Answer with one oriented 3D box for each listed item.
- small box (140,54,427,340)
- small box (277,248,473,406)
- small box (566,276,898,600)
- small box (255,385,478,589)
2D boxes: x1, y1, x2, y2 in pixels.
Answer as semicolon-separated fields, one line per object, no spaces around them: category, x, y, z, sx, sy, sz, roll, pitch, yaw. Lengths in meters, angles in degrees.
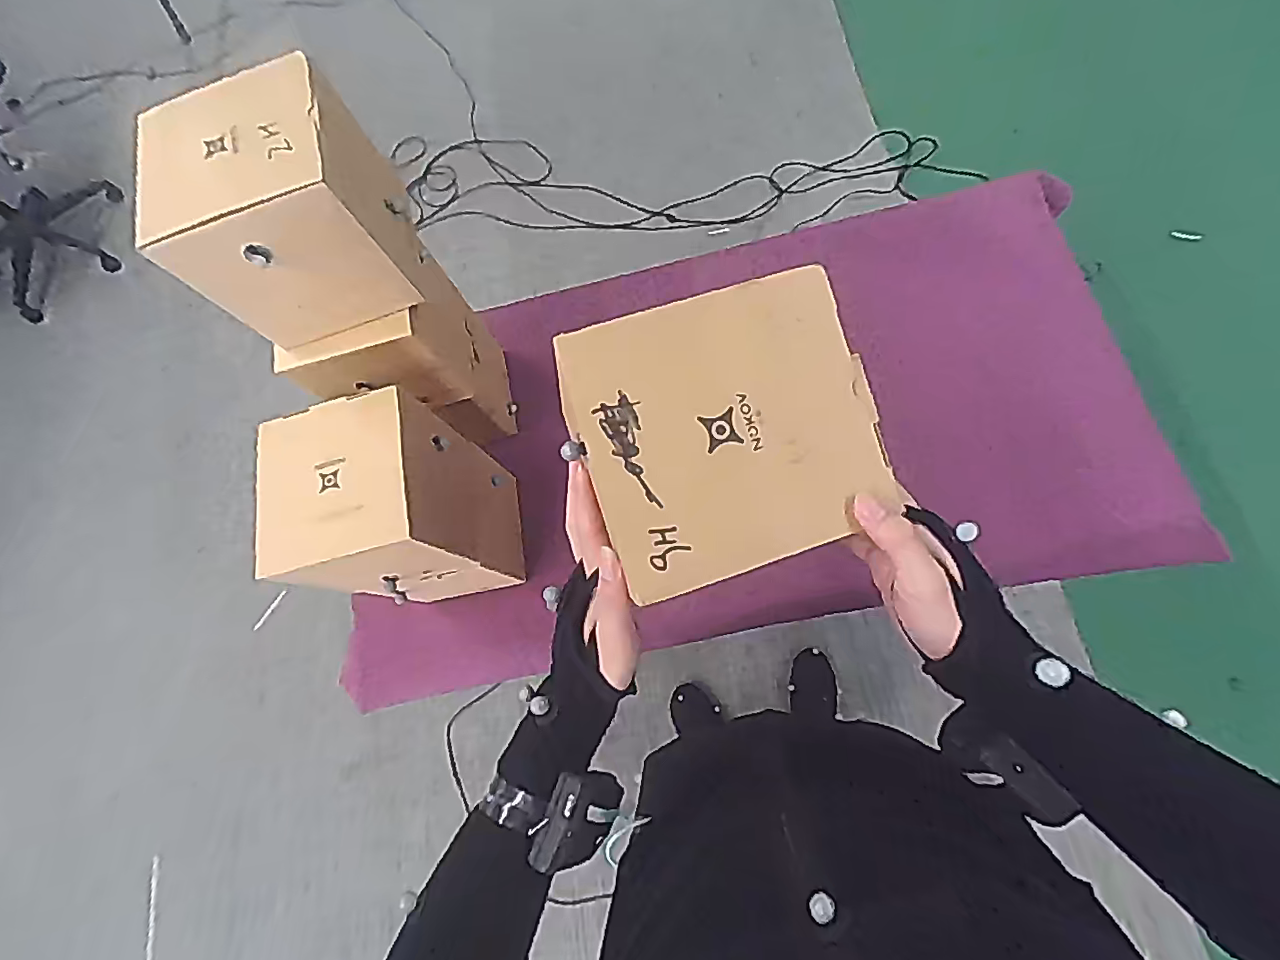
small box;-0.349;-0.270;0.553;0.179;0.176;0.168;-18;72;3
small box;-0.333;-0.197;0.702;0.168;0.176;0.179;-15;72;4
small box;0.047;-0.023;0.405;0.179;0.176;0.168;-16;86;-9
small box;-0.306;0.018;0.632;0.168;0.176;0.179;-14;72;4
